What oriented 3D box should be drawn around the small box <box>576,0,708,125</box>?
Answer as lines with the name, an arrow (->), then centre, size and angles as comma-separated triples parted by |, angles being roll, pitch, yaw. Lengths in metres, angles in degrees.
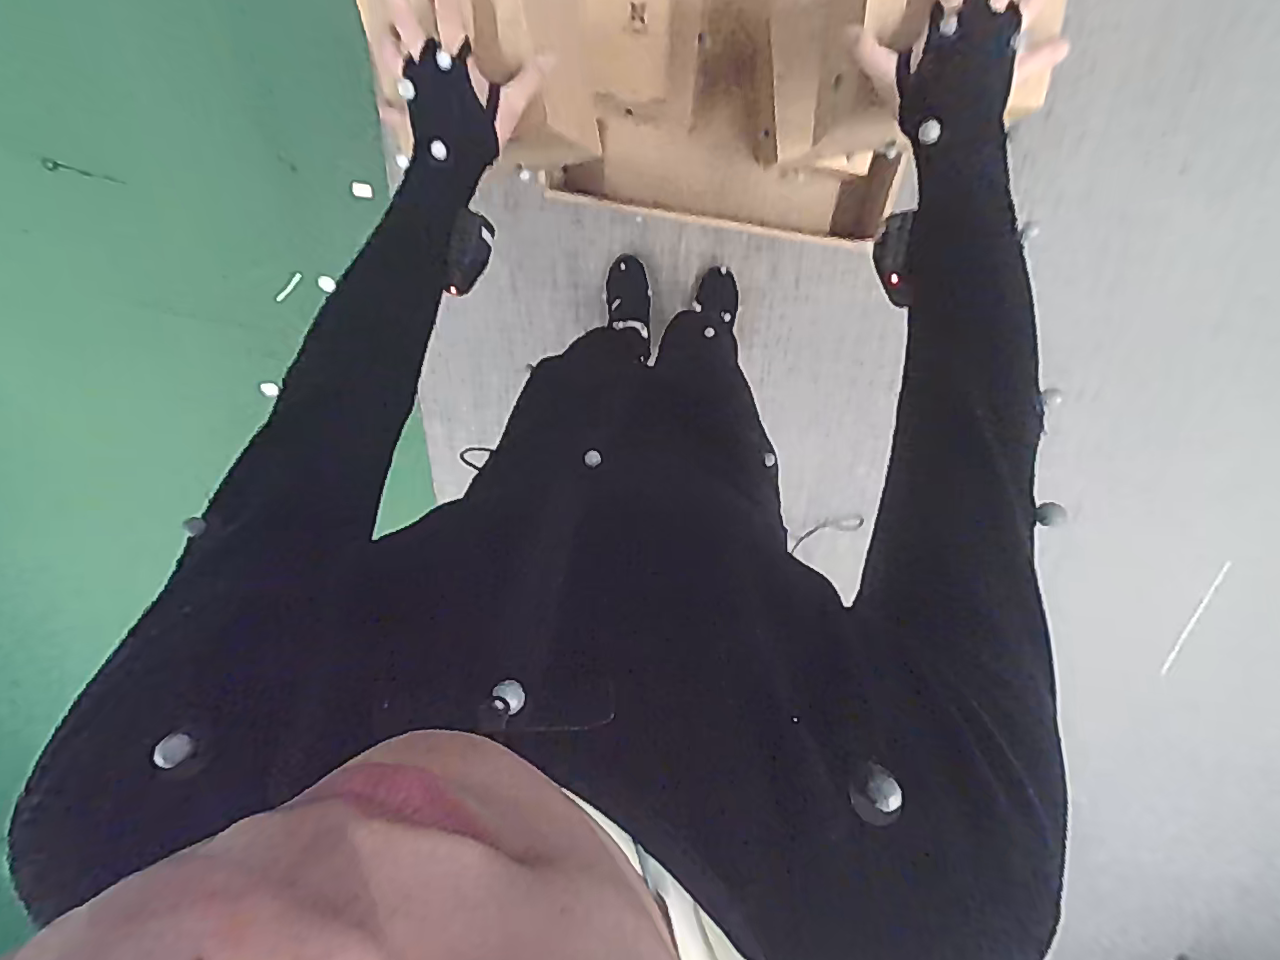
small box -> 0.007, -0.631, 0.770 | 0.168, 0.176, 0.179 | 8, 116, 3

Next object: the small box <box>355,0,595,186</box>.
small box -> -0.163, -0.438, 0.582 | 0.168, 0.176, 0.179 | -5, 111, 18

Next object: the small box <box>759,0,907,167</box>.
small box -> 0.265, -0.561, 0.773 | 0.168, 0.176, 0.179 | -6, 114, 8
